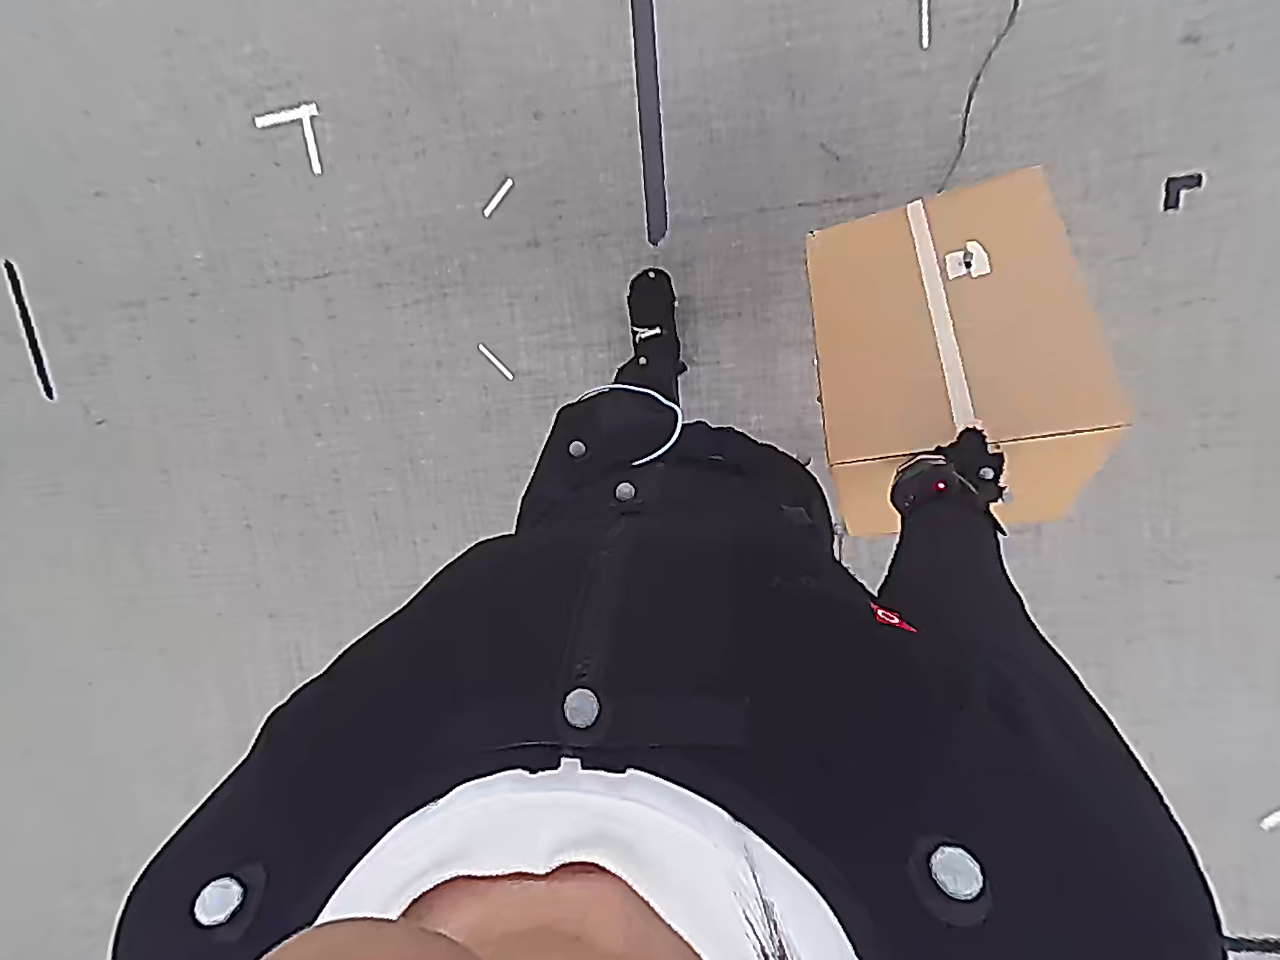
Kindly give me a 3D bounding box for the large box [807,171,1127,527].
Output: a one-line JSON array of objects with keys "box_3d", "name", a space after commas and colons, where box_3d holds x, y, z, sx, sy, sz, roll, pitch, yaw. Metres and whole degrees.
[{"box_3d": [0.462, -0.173, 0.852, 0.320, 0.320, 0.408, -8, 64, 22], "name": "large box"}]
